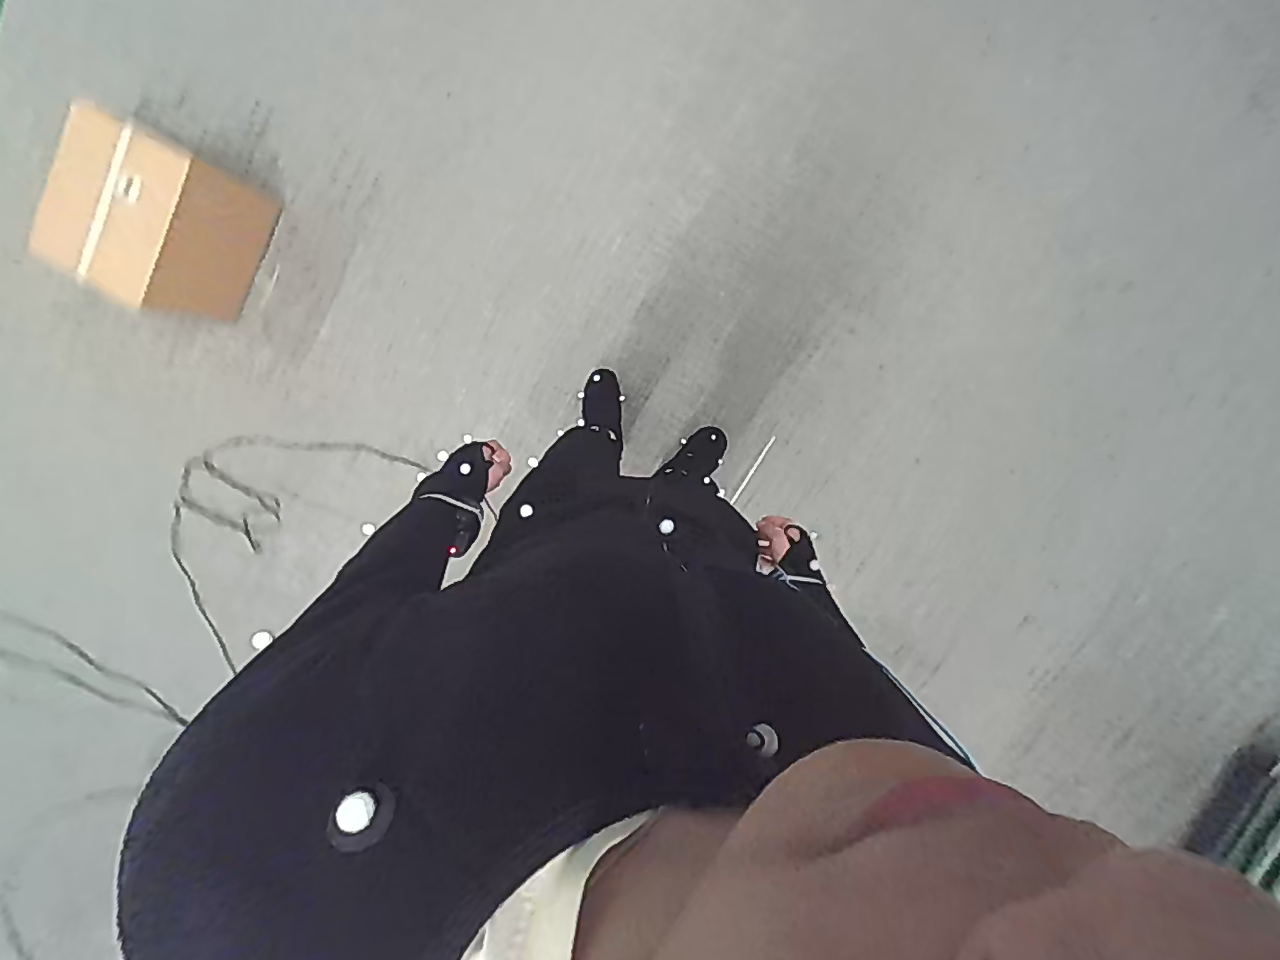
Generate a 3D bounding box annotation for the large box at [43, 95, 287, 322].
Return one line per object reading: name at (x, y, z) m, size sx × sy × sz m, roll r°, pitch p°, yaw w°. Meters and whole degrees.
large box at (-1.265, -0.700, 1.471) m, size 0.320 × 0.320 × 0.408 m, roll 29°, pitch 100°, yaw -1°
